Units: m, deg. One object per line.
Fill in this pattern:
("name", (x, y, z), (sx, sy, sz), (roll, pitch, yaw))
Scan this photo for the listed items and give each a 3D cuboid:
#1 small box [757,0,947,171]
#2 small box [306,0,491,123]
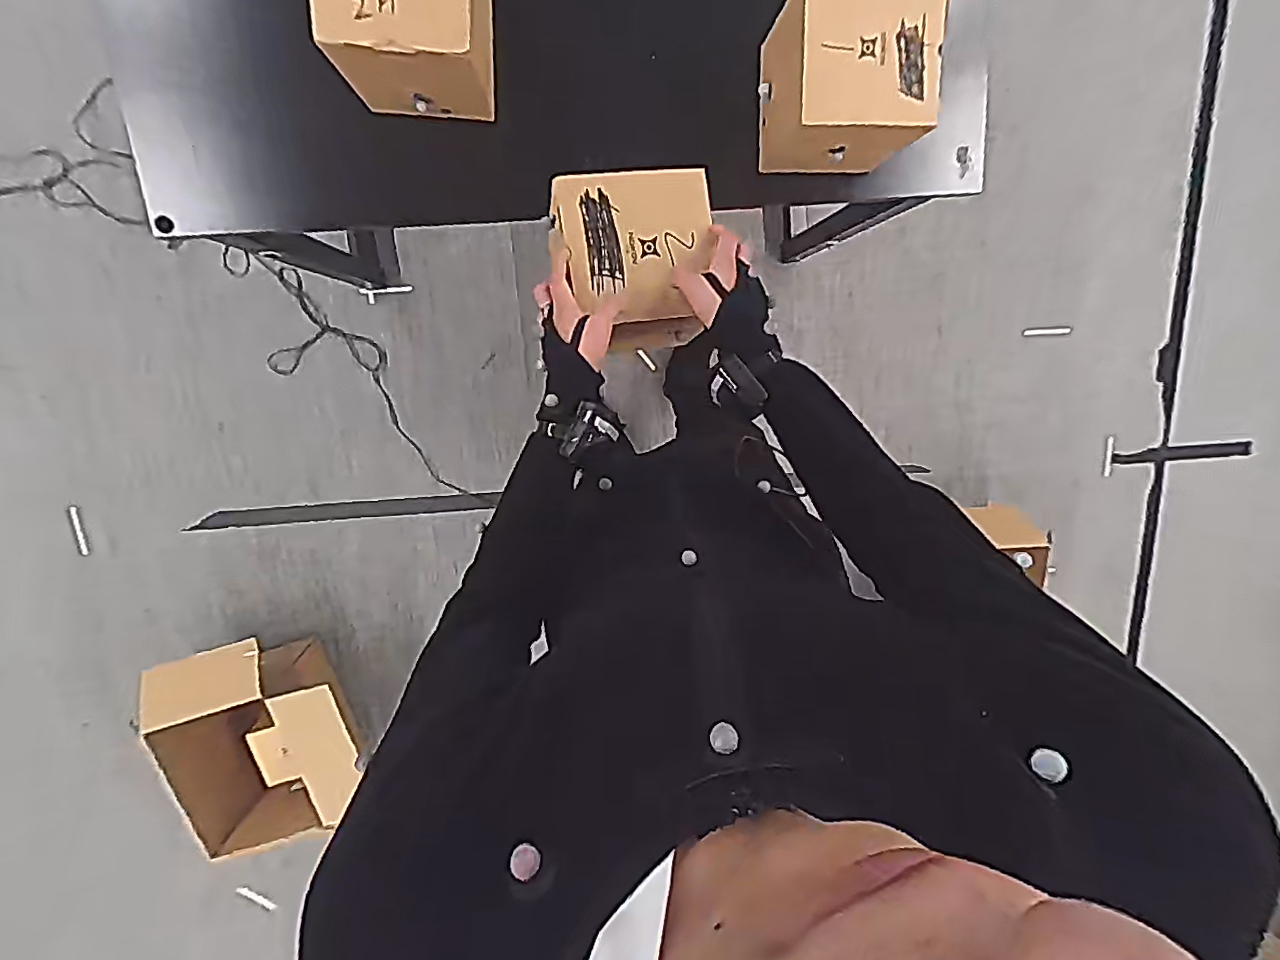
("small box", (0.264, -0.522, 0.706), (0.179, 0.176, 0.168), (-3, 102, -4))
("small box", (-0.275, -0.562, 0.641), (0.168, 0.176, 0.179), (0, 102, -6))
